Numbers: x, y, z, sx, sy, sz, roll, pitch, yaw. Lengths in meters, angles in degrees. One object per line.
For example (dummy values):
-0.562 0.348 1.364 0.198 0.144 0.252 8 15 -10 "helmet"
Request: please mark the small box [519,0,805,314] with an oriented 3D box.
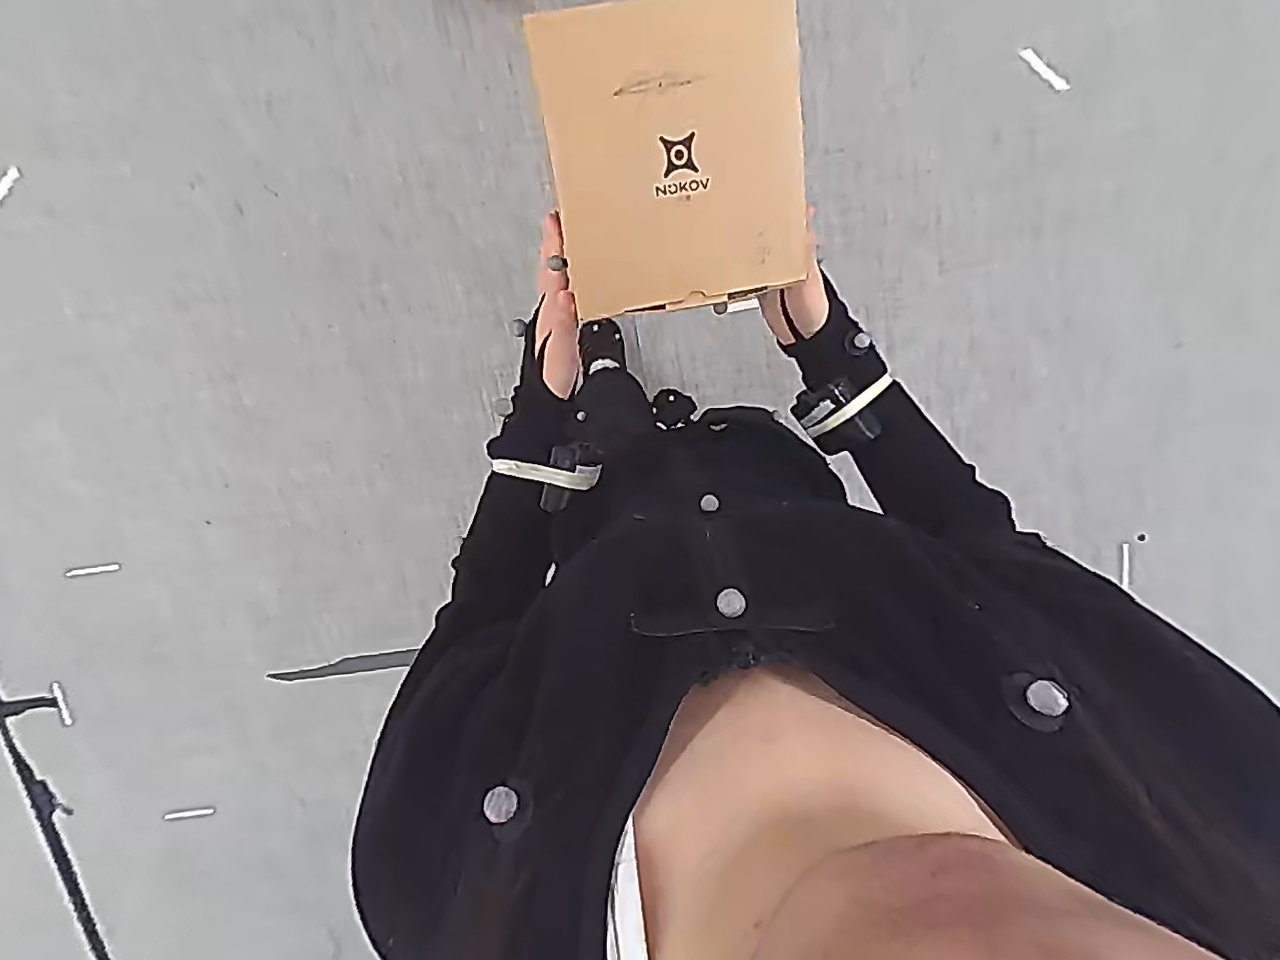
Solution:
0.013 -0.234 0.419 0.168 0.176 0.179 -12 109 -4 "small box"
